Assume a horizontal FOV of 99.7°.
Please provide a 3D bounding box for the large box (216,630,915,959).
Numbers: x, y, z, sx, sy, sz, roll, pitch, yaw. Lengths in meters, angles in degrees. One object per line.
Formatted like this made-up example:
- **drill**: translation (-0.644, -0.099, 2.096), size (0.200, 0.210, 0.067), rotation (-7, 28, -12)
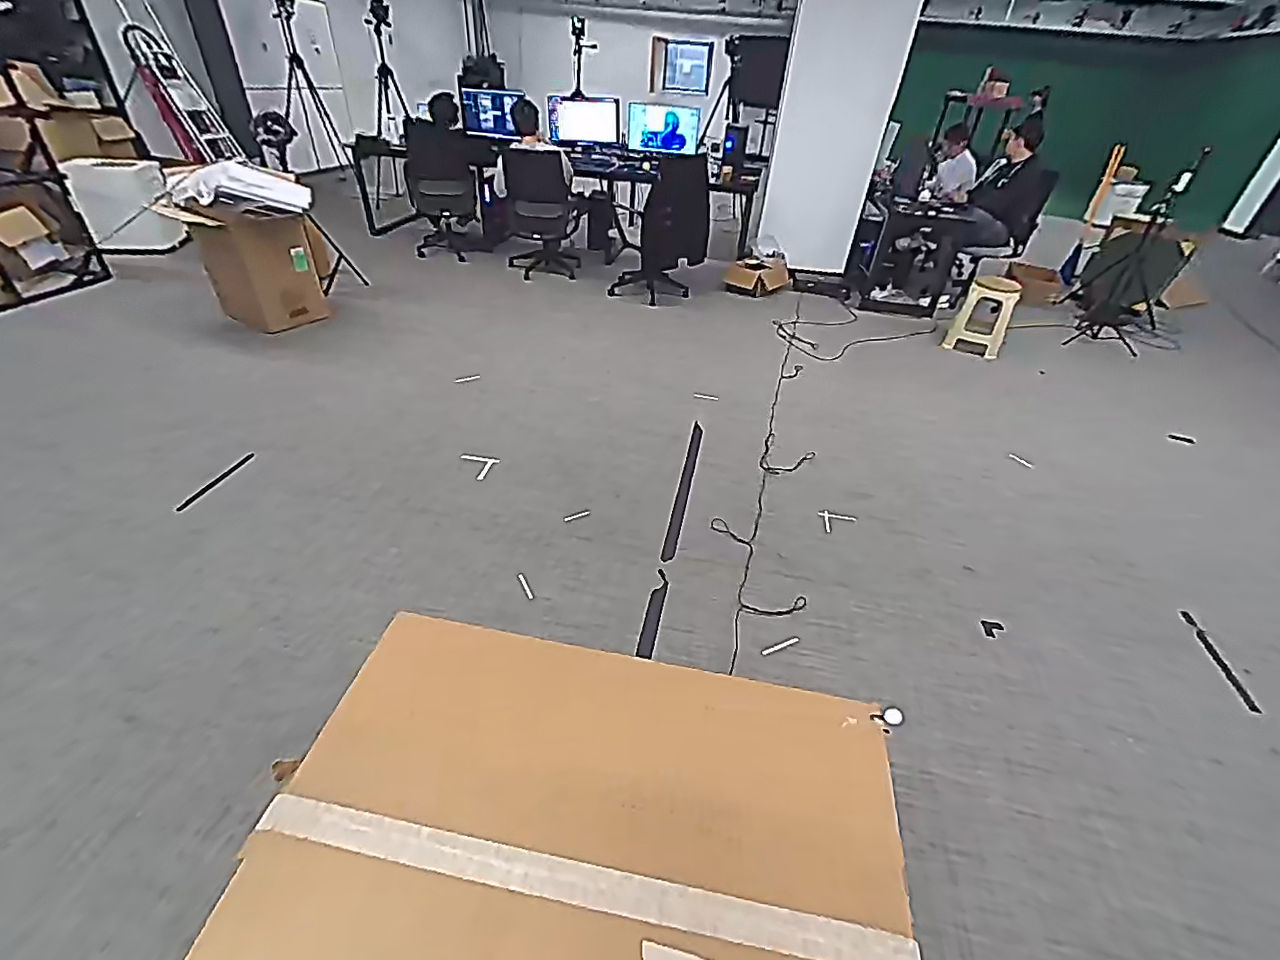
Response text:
- **large box**: translation (-0.042, 0.366, 0.436), size (0.408, 0.320, 0.320), rotation (10, 43, 5)
